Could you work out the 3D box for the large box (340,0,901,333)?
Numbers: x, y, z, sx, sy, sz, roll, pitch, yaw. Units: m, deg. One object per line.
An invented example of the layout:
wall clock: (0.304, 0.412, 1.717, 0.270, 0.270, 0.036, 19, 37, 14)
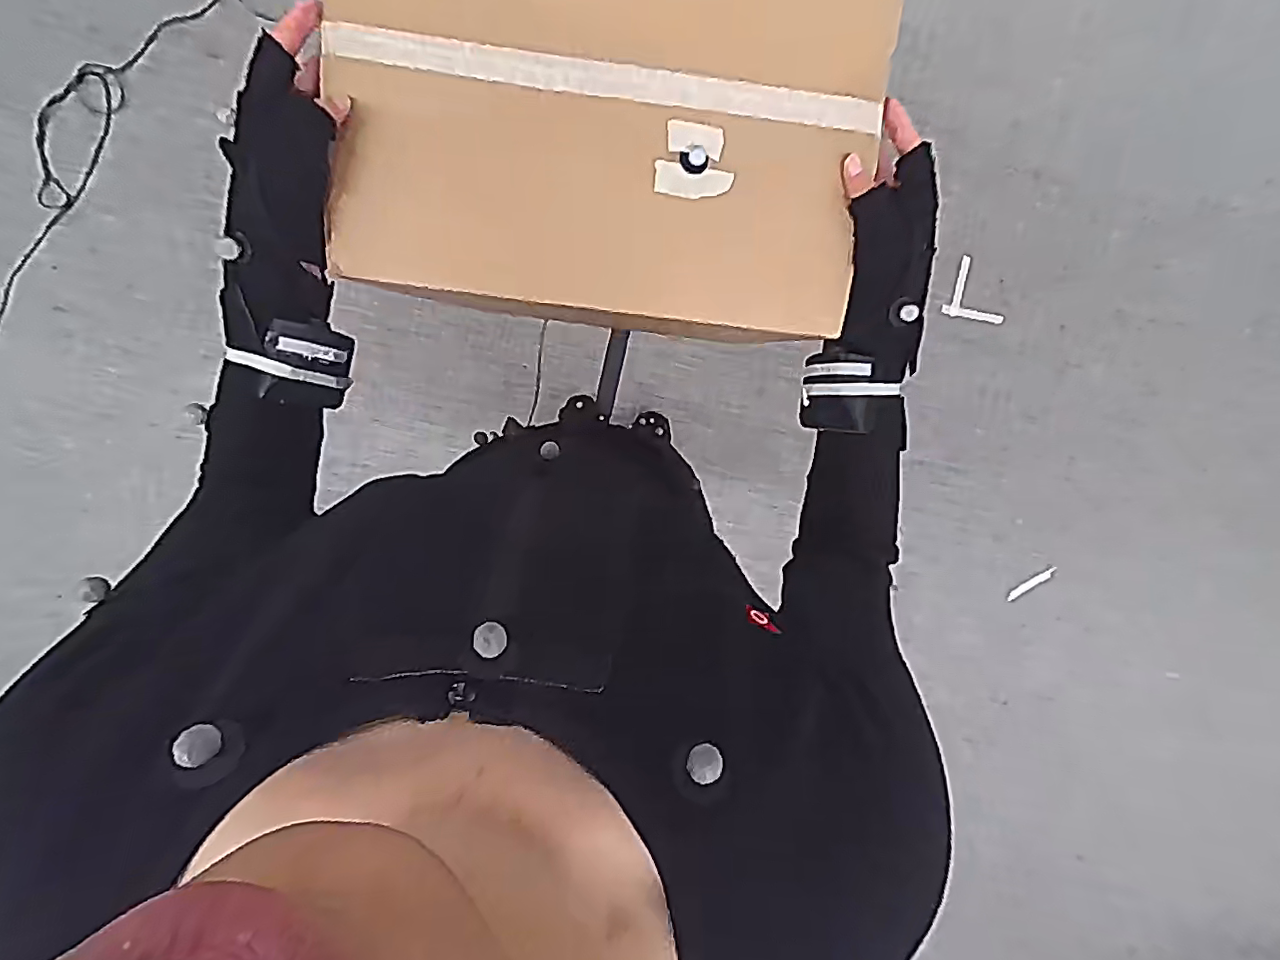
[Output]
large box: (-0.024, -0.329, 0.540, 0.408, 0.320, 0.320, 6, 104, -4)
